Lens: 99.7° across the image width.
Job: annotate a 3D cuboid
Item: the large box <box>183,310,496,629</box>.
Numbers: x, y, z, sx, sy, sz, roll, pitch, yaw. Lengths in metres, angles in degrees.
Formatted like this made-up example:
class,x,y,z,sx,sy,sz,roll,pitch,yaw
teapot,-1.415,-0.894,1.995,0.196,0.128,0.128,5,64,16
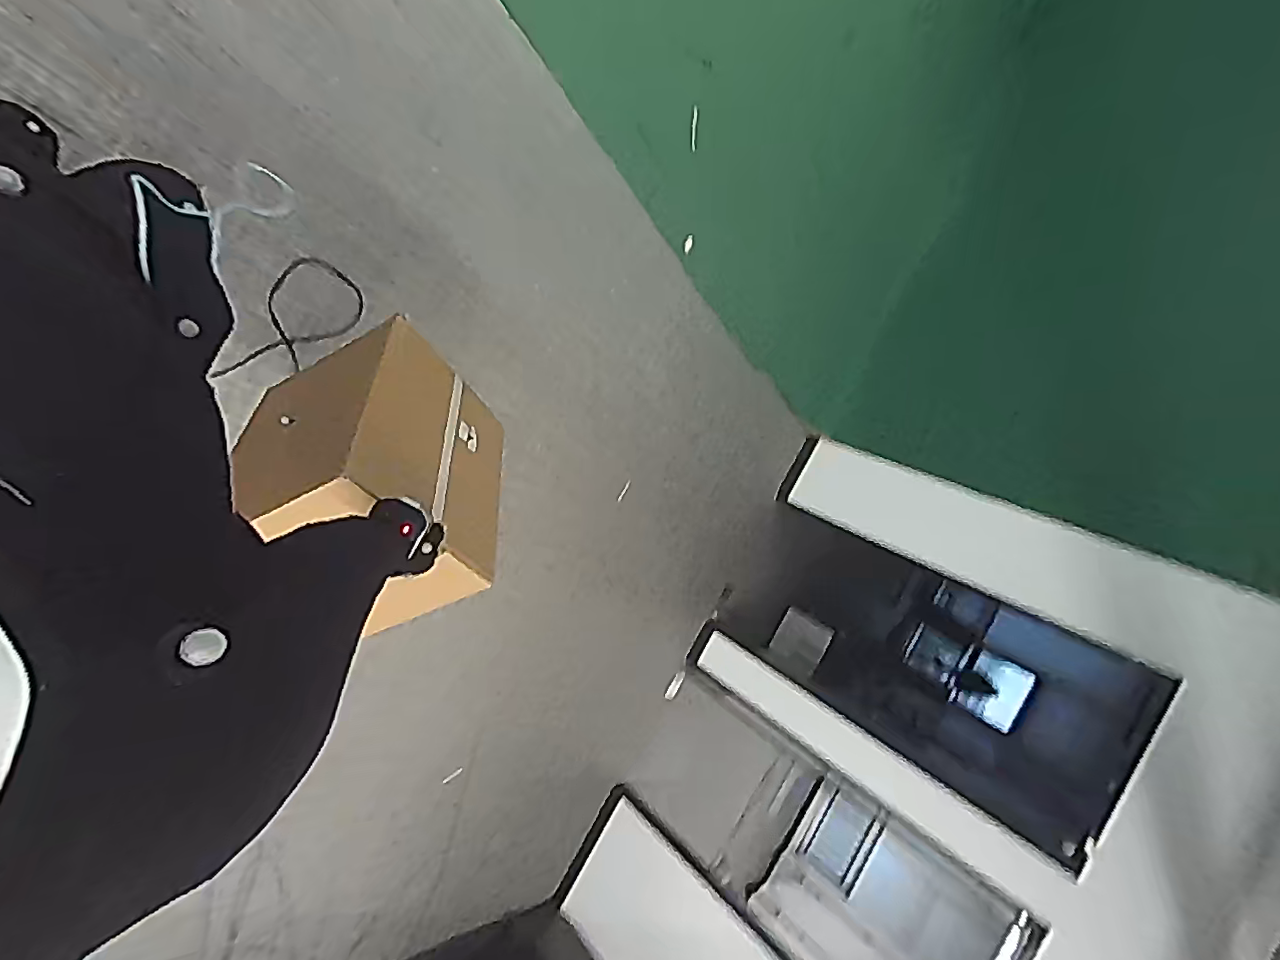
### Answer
class,x,y,z,sx,sy,sz,roll,pitch,yaw
large box,-0.479,-0.014,0.957,0.320,0.408,0.320,-23,135,12
